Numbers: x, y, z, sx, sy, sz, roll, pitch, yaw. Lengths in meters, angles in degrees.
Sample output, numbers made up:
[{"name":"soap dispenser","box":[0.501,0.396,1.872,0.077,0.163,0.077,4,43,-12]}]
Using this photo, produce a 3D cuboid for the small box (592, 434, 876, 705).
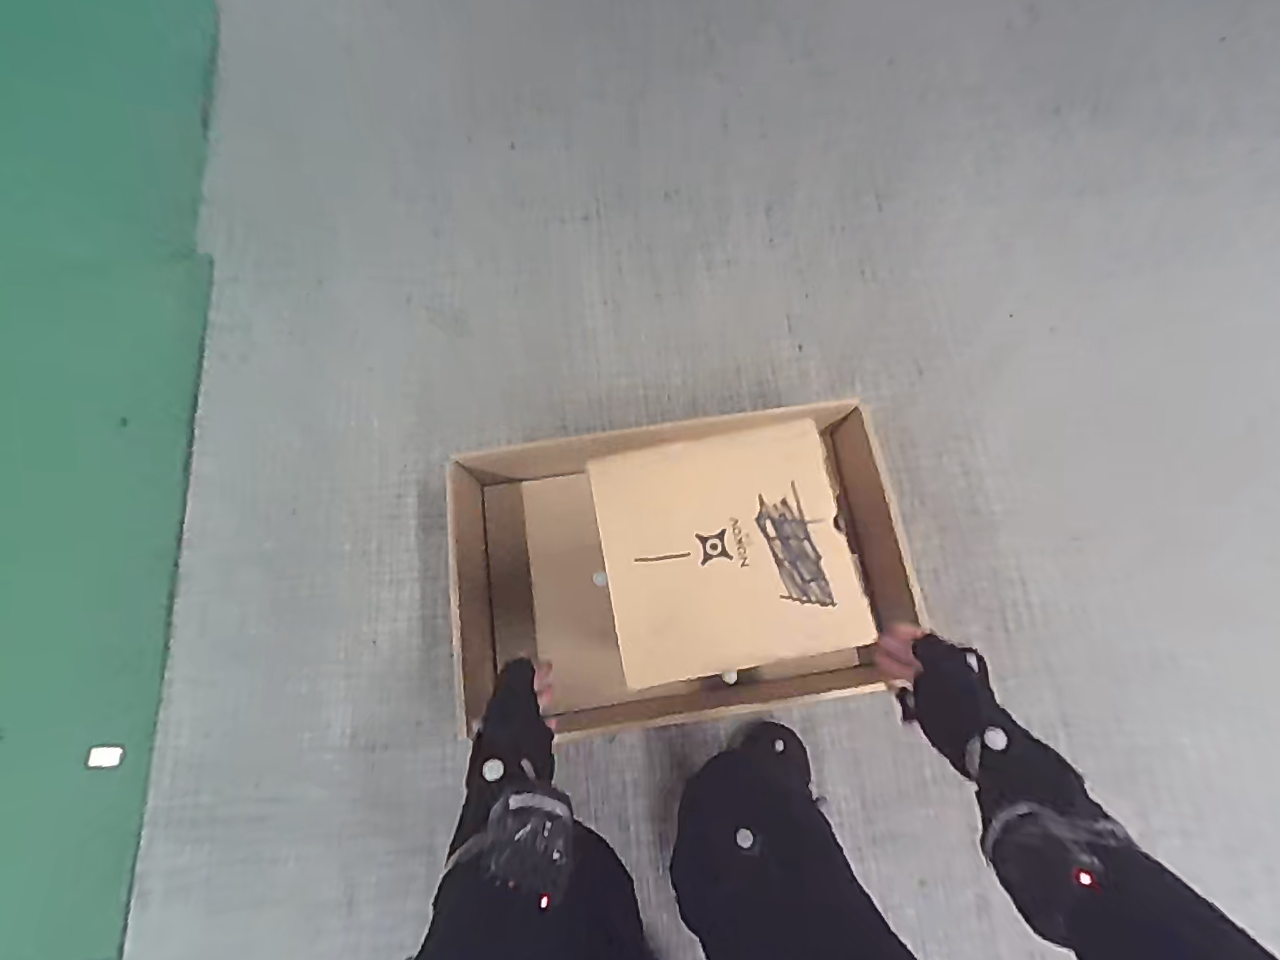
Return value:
[{"name":"small box","box":[0.064,0.078,0.468,0.179,0.176,0.168,-13,75,-3]}]
